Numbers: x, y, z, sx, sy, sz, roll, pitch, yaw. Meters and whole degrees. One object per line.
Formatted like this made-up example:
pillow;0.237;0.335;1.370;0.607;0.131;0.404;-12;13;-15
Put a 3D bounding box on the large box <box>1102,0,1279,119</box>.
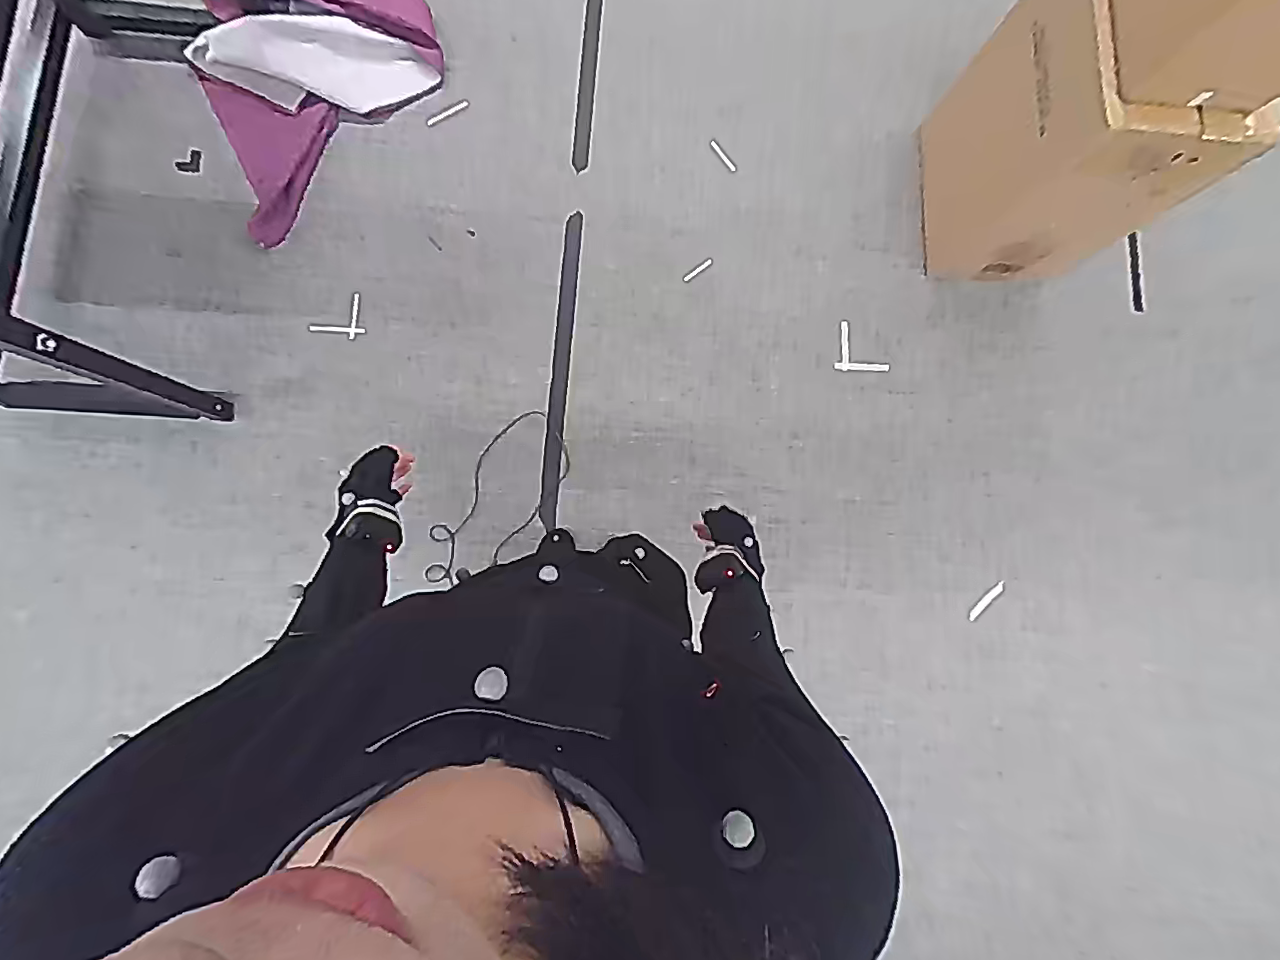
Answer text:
large box;1.149;-0.984;1.015;0.320;0.320;0.408;1;83;-4
